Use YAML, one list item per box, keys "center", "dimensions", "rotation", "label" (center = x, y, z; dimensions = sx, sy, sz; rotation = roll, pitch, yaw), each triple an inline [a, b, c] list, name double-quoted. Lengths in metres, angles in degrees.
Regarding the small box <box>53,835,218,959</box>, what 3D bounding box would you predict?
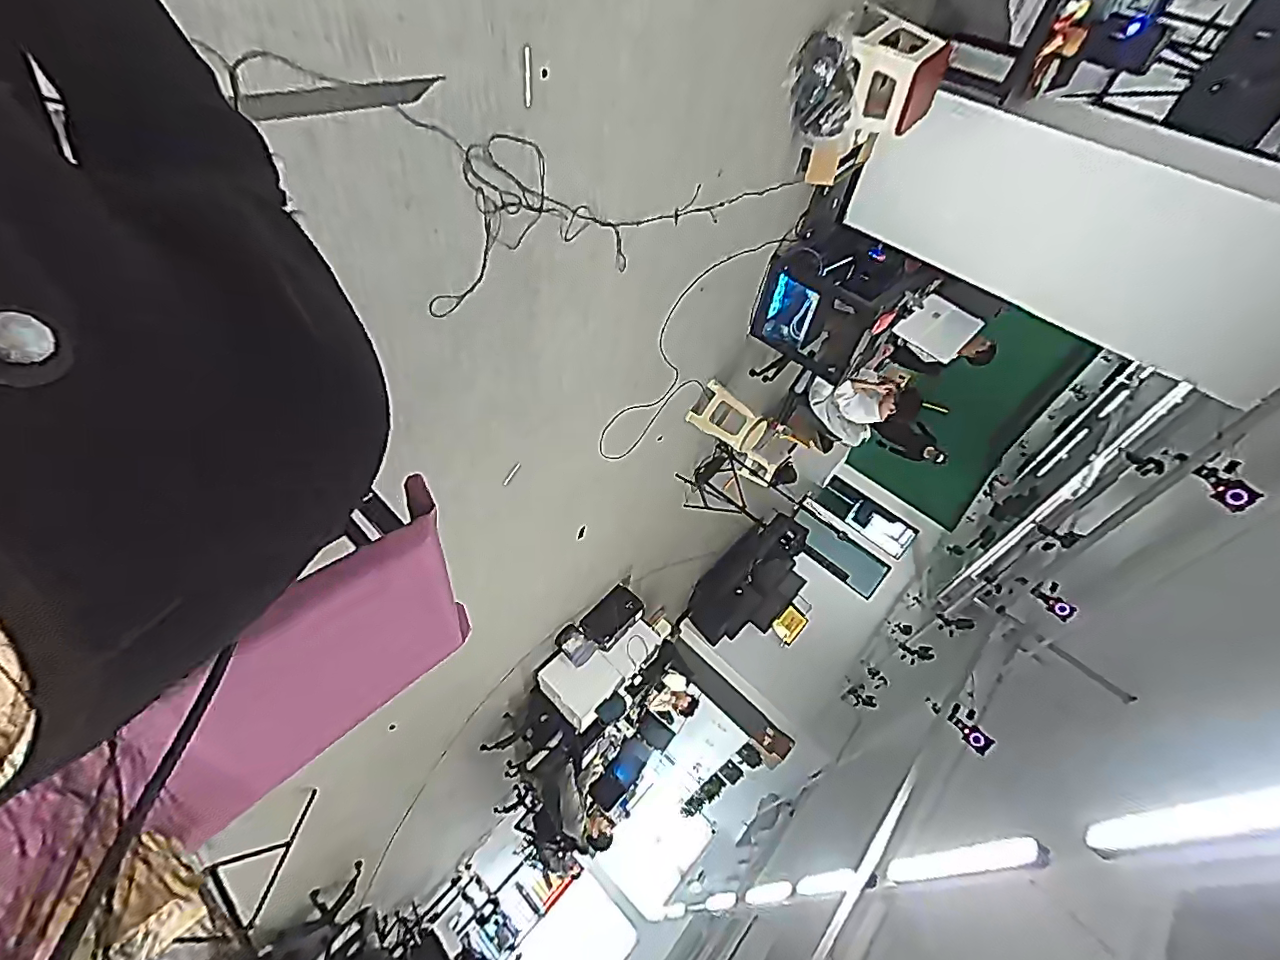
- center: [-1.022, 0.867, 1.104]
  dimensions: [0.168, 0.176, 0.179]
  rotation: [-37, 153, -33]
  label: "small box"
